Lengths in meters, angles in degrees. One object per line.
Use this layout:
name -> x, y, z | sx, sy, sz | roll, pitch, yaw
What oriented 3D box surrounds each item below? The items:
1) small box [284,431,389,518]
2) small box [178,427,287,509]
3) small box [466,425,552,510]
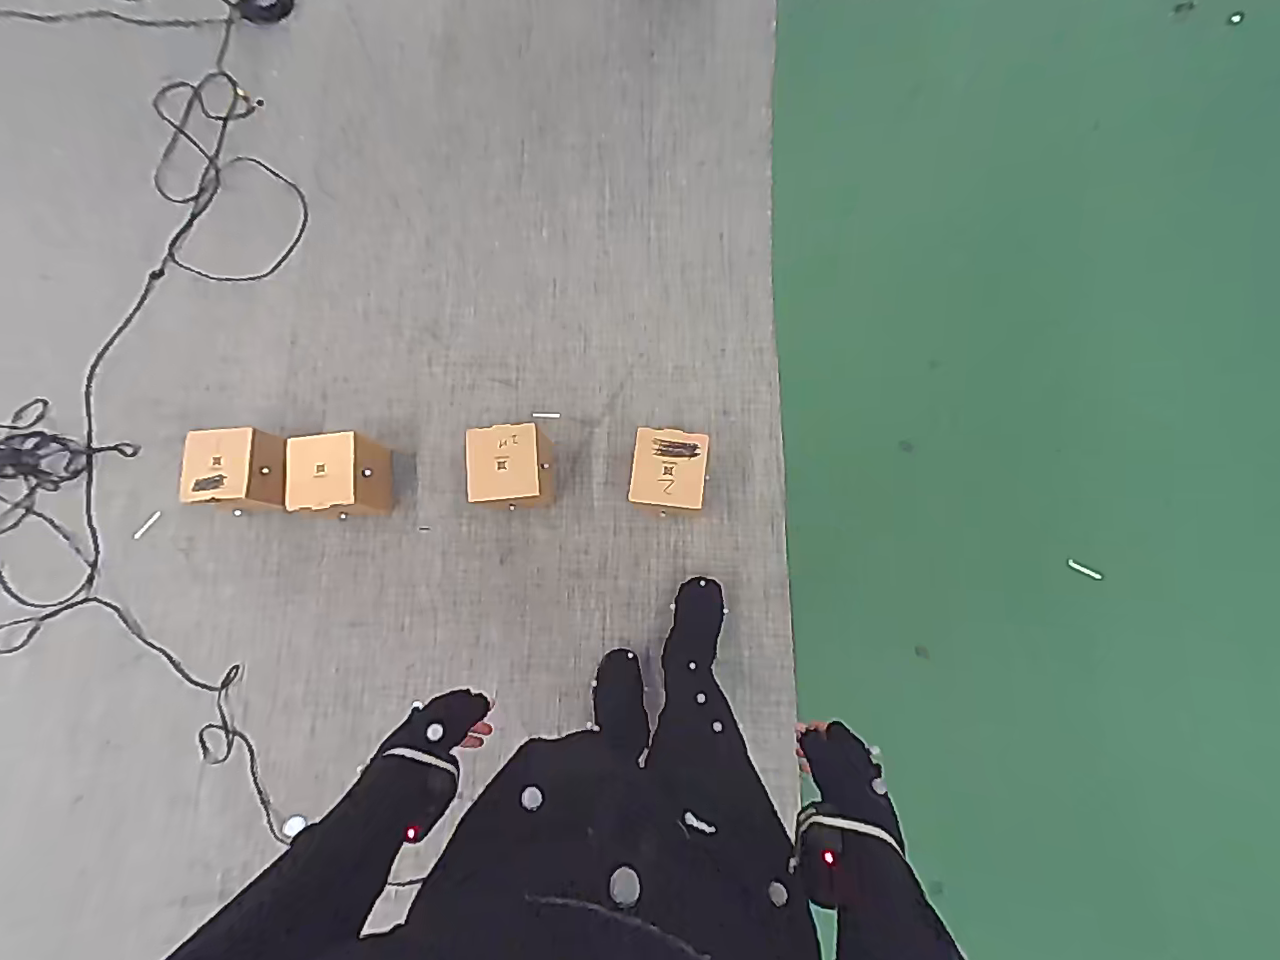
small box -> -0.738, -0.008, 1.331 | 0.168, 0.176, 0.179 | -6, 80, 2
small box -> -0.992, -0.024, 1.347 | 0.168, 0.176, 0.179 | -3, 78, 3
small box -> -0.312, -0.023, 1.310 | 0.168, 0.176, 0.179 | -5, 80, 1
